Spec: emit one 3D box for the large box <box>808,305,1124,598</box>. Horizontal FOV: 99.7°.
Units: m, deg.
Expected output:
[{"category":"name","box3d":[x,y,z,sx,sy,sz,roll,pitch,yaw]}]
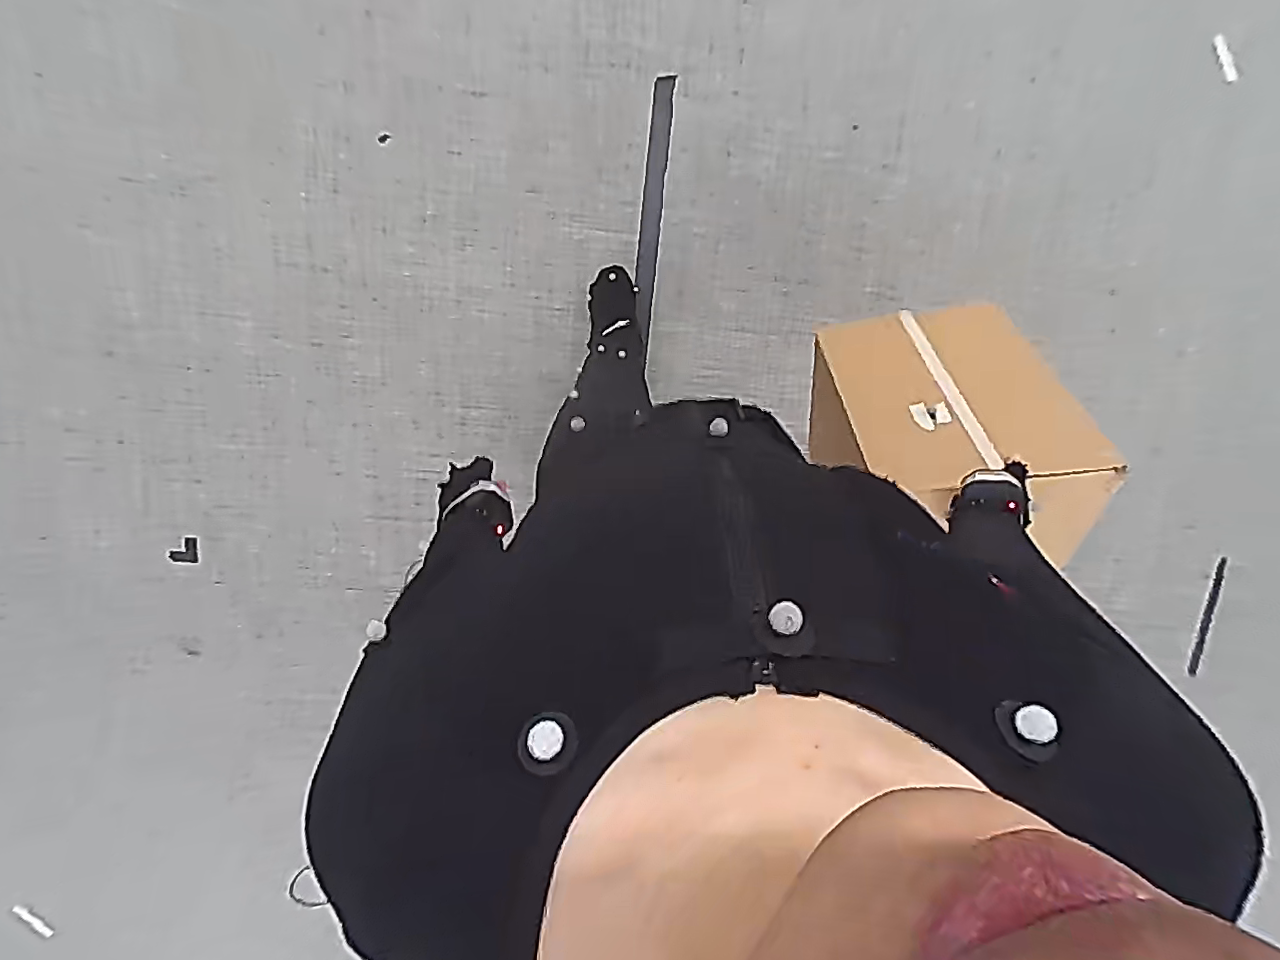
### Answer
[{"category":"large box","box3d":[0.506,-0.049,0.965,0.320,0.408,0.320,-8,140,8]}]
